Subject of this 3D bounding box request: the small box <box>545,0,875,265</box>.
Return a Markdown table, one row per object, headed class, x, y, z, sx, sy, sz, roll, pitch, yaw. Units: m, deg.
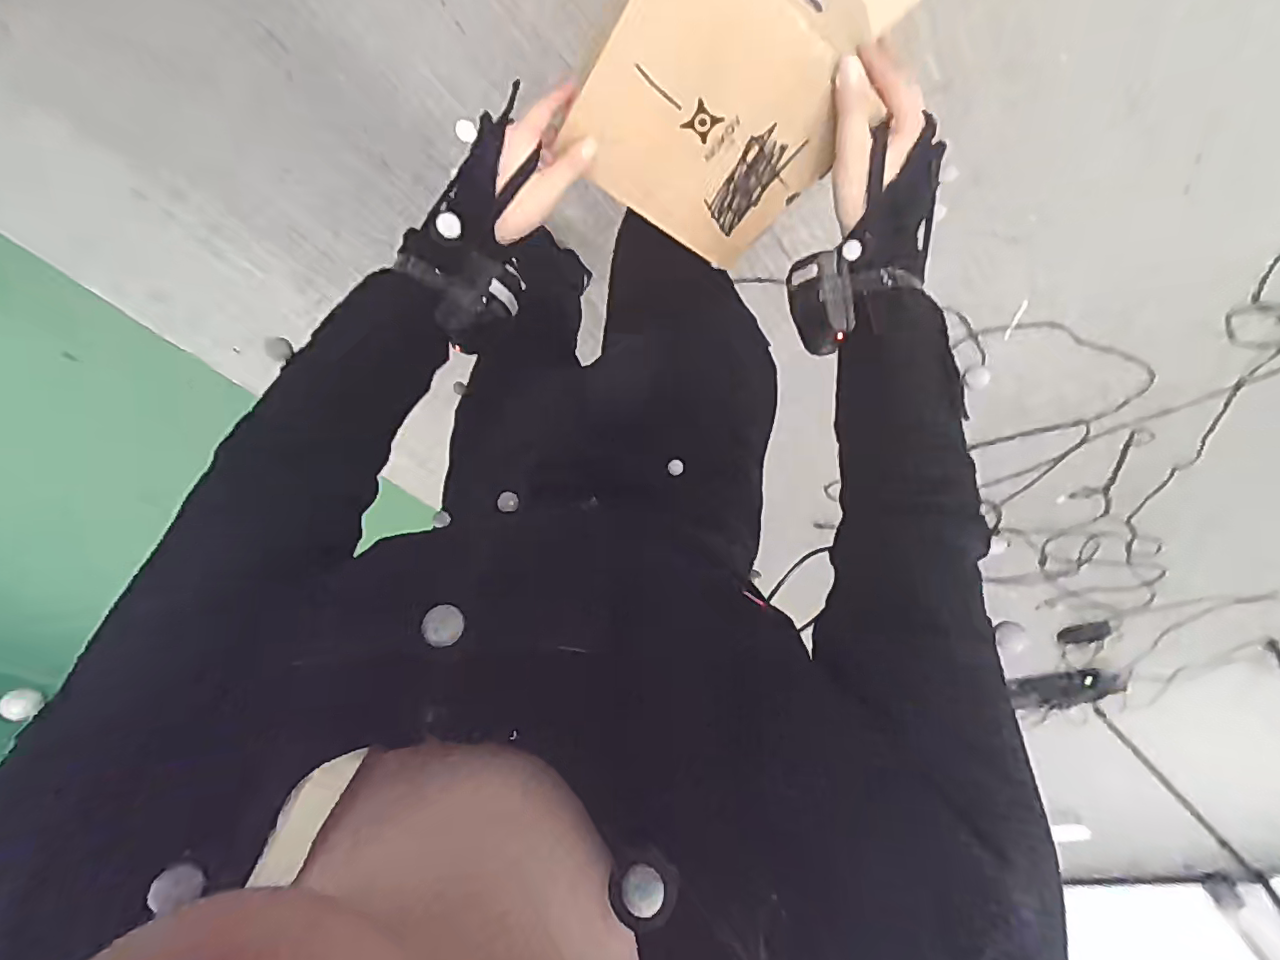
| class | x | y | z | sx | sy | sz | roll | pitch | yaw |
| --- | --- | --- | --- | --- | --- | --- | --- | --- | --- |
| small box | 0.053 | -0.316 | 0.419 | 0.179 | 0.176 | 0.168 | 23 | 147 | -26 |
